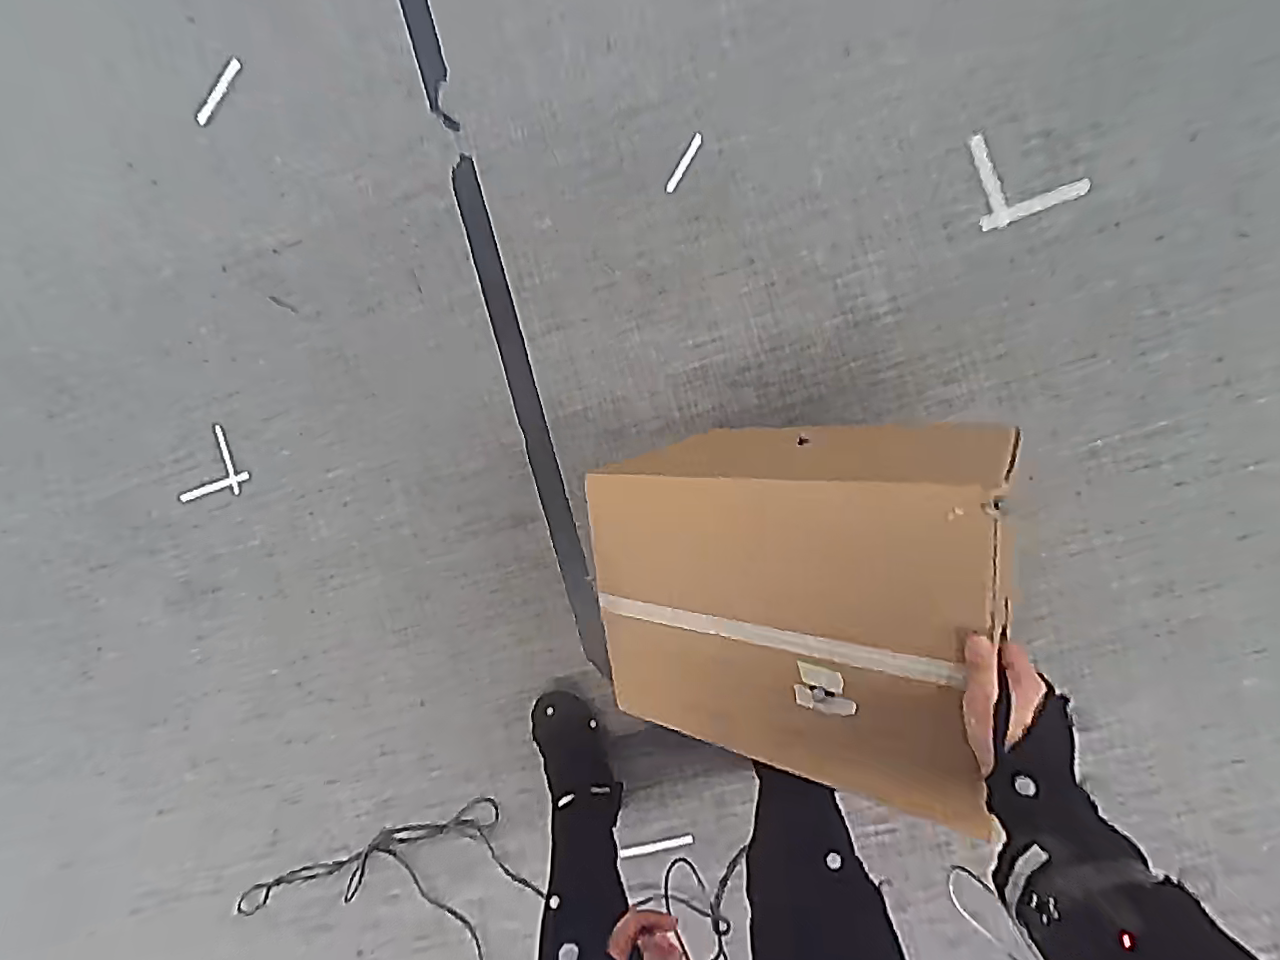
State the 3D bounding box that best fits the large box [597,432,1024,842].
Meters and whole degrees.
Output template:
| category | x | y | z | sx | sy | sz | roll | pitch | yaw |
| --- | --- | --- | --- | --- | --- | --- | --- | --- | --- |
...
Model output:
| category | x | y | z | sx | sy | sz | roll | pitch | yaw |
| --- | --- | --- | --- | --- | --- | --- | --- | --- | --- |
| large box | 0.211 | 0.120 | 0.654 | 0.408 | 0.320 | 0.320 | 2 | 105 | 36 |
